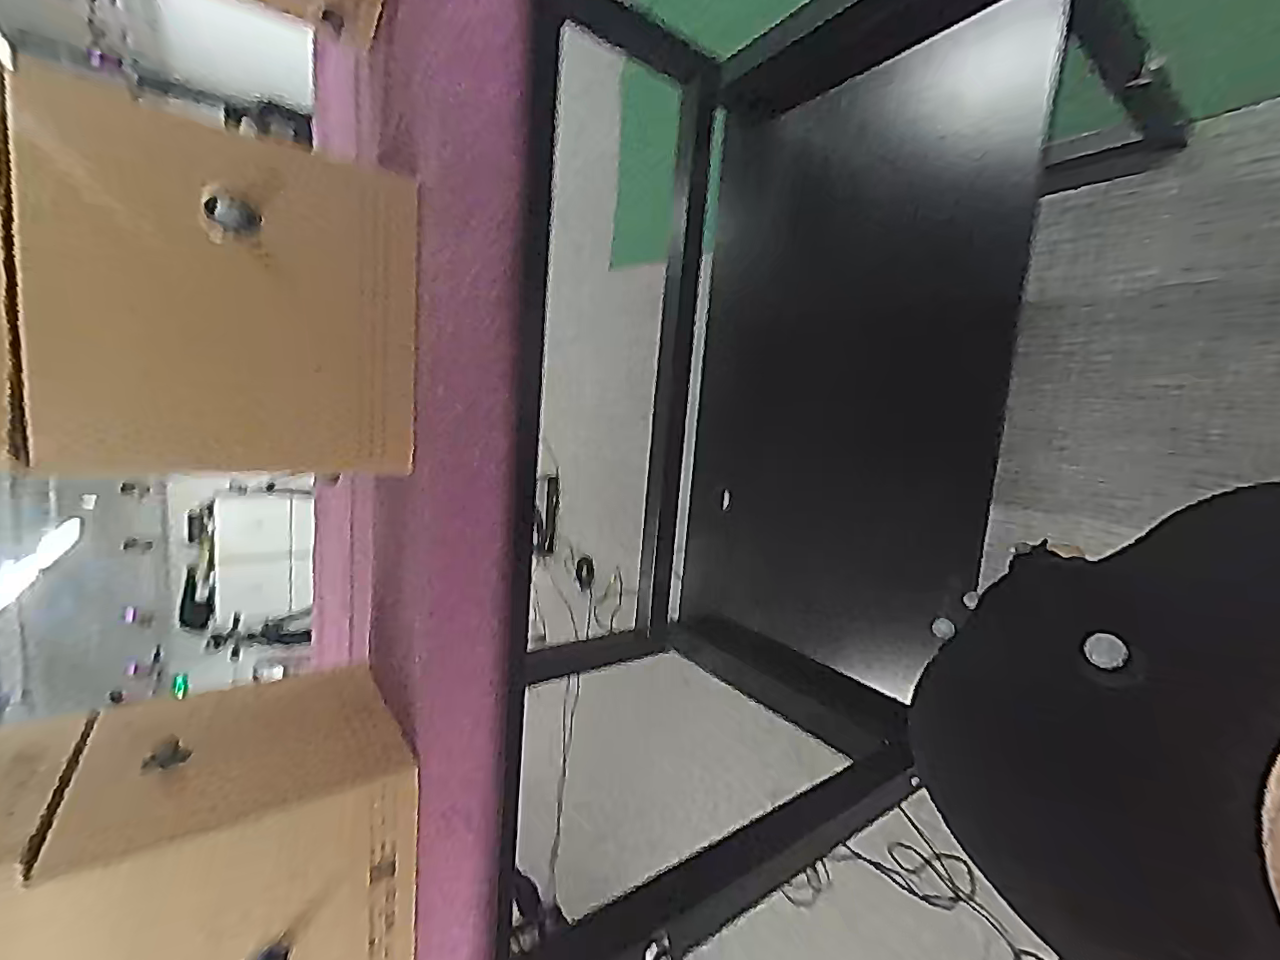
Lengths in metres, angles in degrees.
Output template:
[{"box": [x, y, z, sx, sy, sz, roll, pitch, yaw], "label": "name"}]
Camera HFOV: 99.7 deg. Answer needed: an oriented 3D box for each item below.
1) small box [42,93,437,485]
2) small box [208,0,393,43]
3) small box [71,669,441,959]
[{"box": [-0.239, -0.095, 0.353, 0.168, 0.176, 0.179, 10, 101, 54], "label": "small box"}, {"box": [-0.240, -0.417, 0.332, 0.168, 0.176, 0.179, 16, 105, 55], "label": "small box"}, {"box": [-0.242, 0.248, 0.366, 0.179, 0.176, 0.168, 9, 98, 53], "label": "small box"}]
